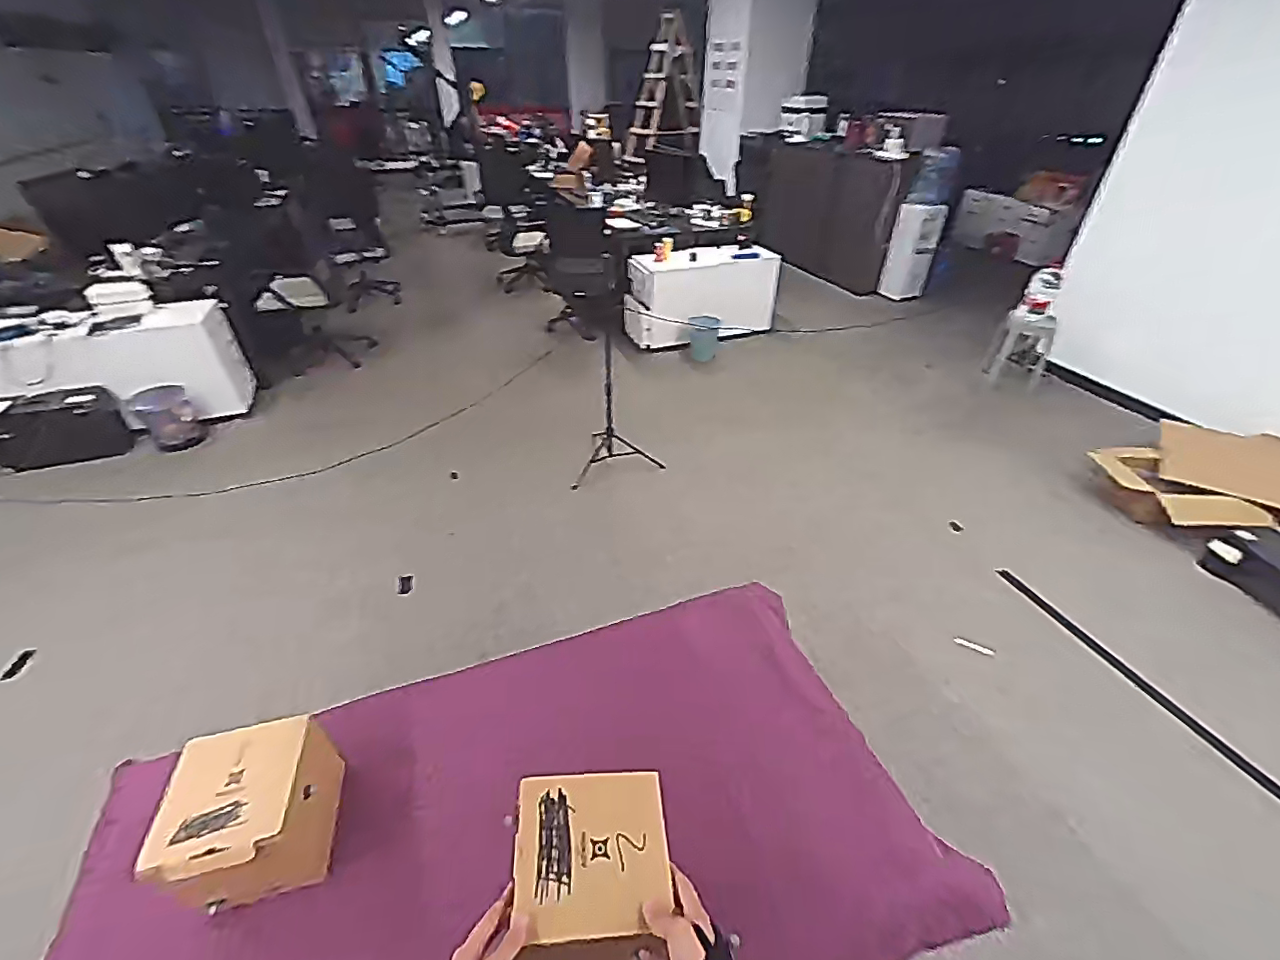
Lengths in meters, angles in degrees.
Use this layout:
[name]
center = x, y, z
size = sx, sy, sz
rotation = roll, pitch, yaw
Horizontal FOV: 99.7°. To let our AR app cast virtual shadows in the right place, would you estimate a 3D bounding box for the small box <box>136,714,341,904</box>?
[small box]
center = -0.559, 0.481, 0.788
size = 0.168, 0.176, 0.179
rotation = -9, 38, -12
